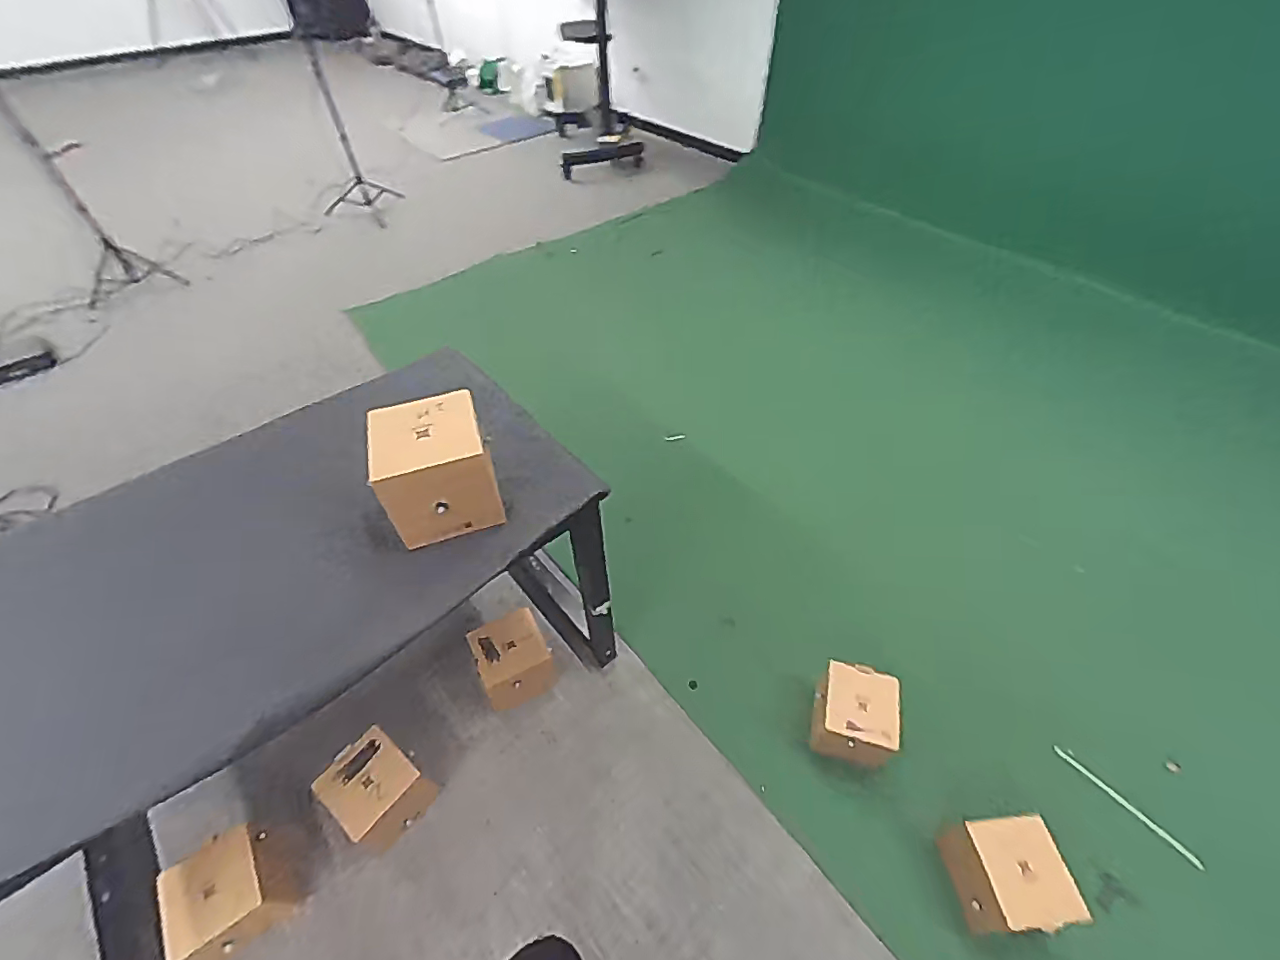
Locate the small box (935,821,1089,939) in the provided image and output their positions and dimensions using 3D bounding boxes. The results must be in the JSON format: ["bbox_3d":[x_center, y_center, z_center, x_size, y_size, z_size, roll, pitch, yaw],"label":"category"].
[{"bbox_3d":[0.753,0.829,1.118,0.168,0.176,0.179,-4,48,-4],"label":"small box"}]

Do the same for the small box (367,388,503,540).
[{"bbox_3d":[-0.334,-0.021,0.896,0.168,0.176,0.179,-15,48,-13],"label":"small box"}]

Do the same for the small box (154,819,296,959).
[{"bbox_3d":[-0.846,0.846,1.115,0.168,0.176,0.179,-29,54,-22],"label":"small box"}]

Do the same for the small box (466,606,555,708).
[{"bbox_3d":[-0.340,0.473,1.436,0.179,0.176,0.168,-21,52,-19],"label":"small box"}]

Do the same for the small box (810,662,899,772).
[{"bbox_3d":[0.526,0.586,1.334,0.168,0.176,0.179,13,49,12],"label":"small box"}]
